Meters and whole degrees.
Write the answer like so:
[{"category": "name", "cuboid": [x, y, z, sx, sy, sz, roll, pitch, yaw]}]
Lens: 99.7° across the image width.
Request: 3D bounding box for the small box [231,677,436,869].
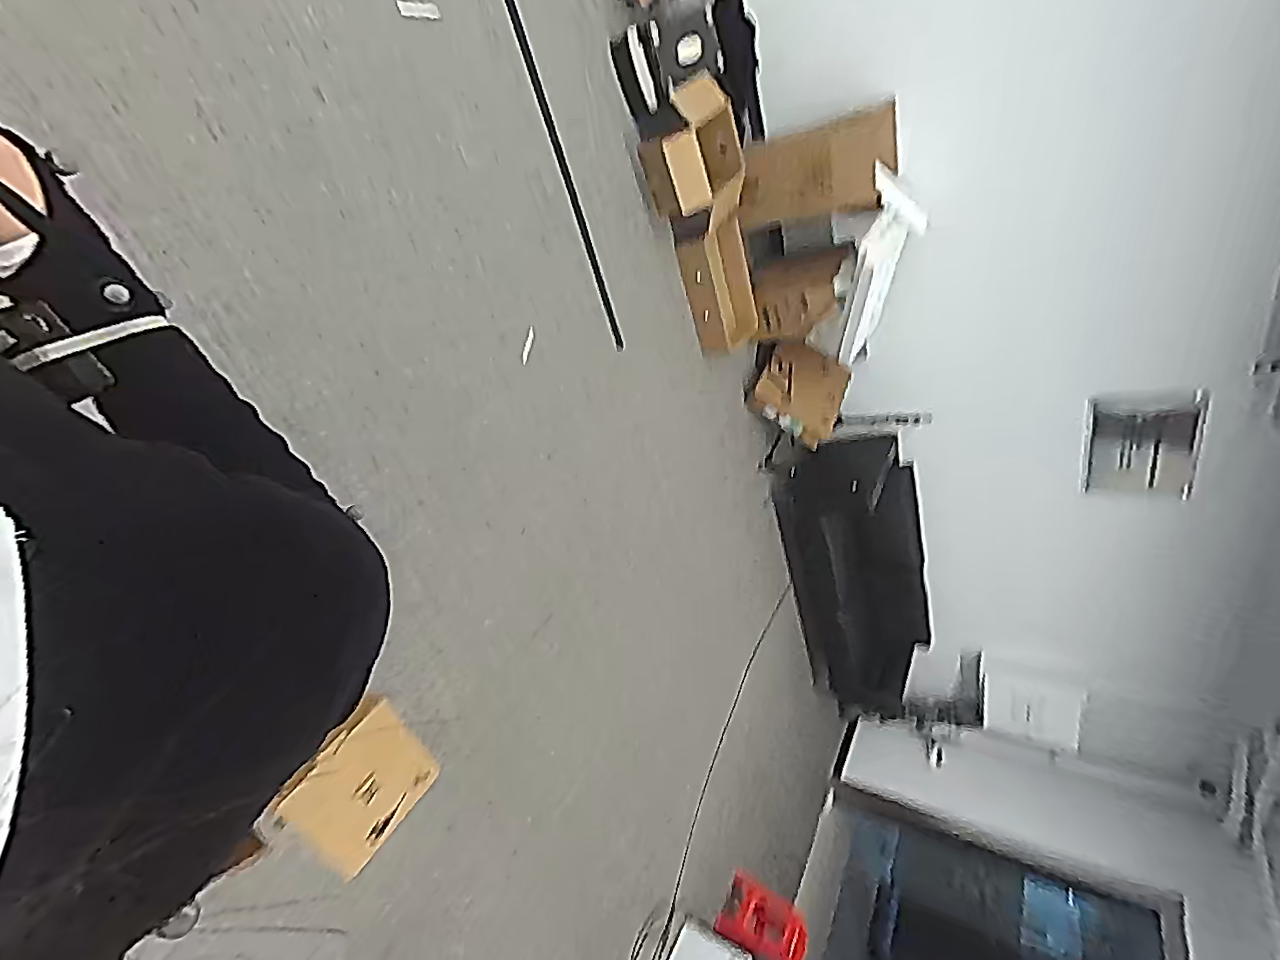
[{"category": "small box", "cuboid": [-0.447, 0.413, 0.794, 0.168, 0.176, 0.179, -47, 126, -43]}]
